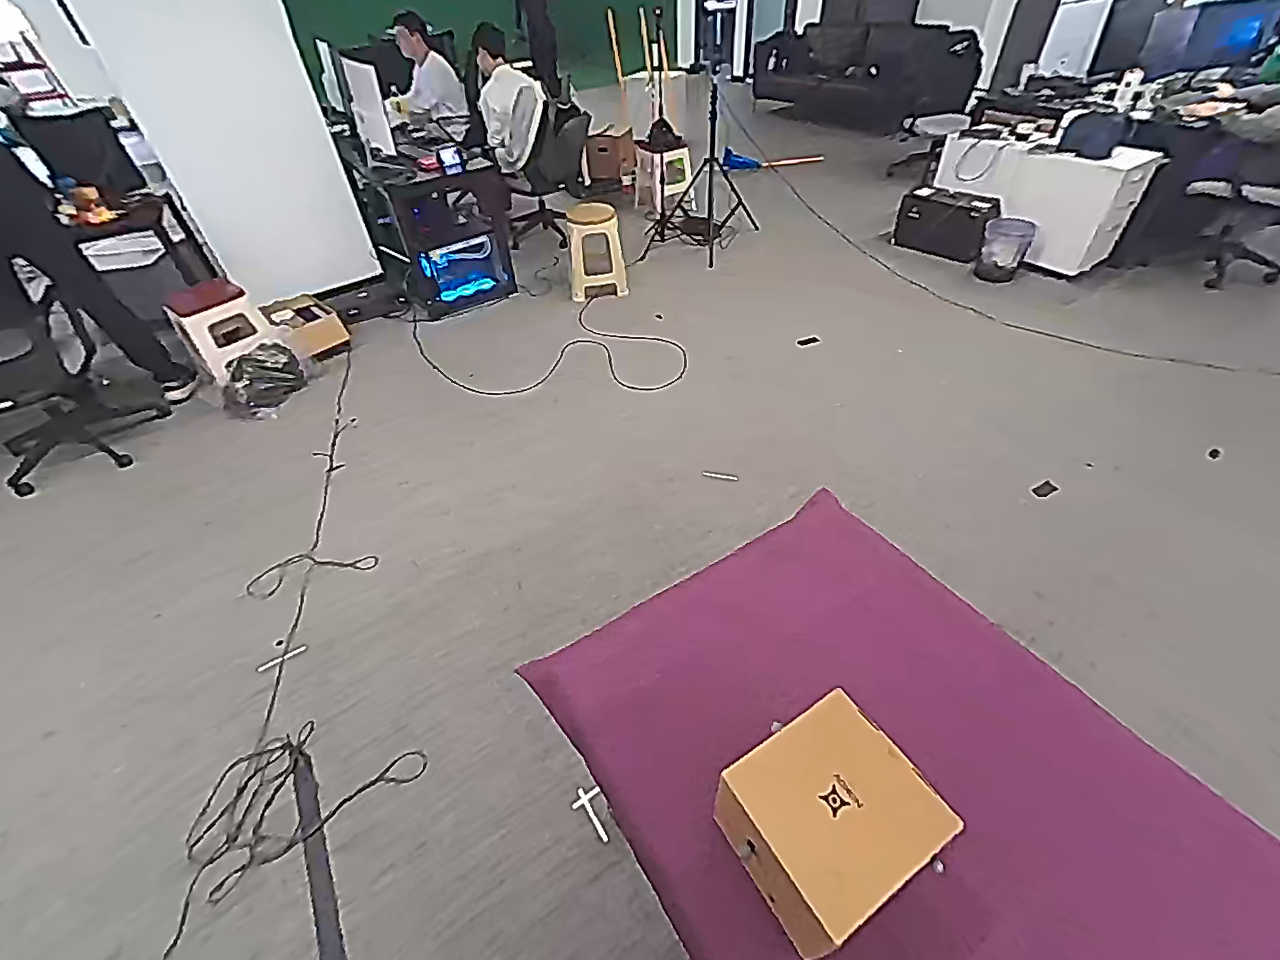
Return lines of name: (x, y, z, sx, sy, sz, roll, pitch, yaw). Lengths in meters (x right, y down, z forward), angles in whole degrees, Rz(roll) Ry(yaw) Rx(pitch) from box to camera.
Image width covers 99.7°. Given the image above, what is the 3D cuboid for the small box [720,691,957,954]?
small box: (0.205, 0.383, 0.609, 0.179, 0.176, 0.168, -24, 48, -21)
